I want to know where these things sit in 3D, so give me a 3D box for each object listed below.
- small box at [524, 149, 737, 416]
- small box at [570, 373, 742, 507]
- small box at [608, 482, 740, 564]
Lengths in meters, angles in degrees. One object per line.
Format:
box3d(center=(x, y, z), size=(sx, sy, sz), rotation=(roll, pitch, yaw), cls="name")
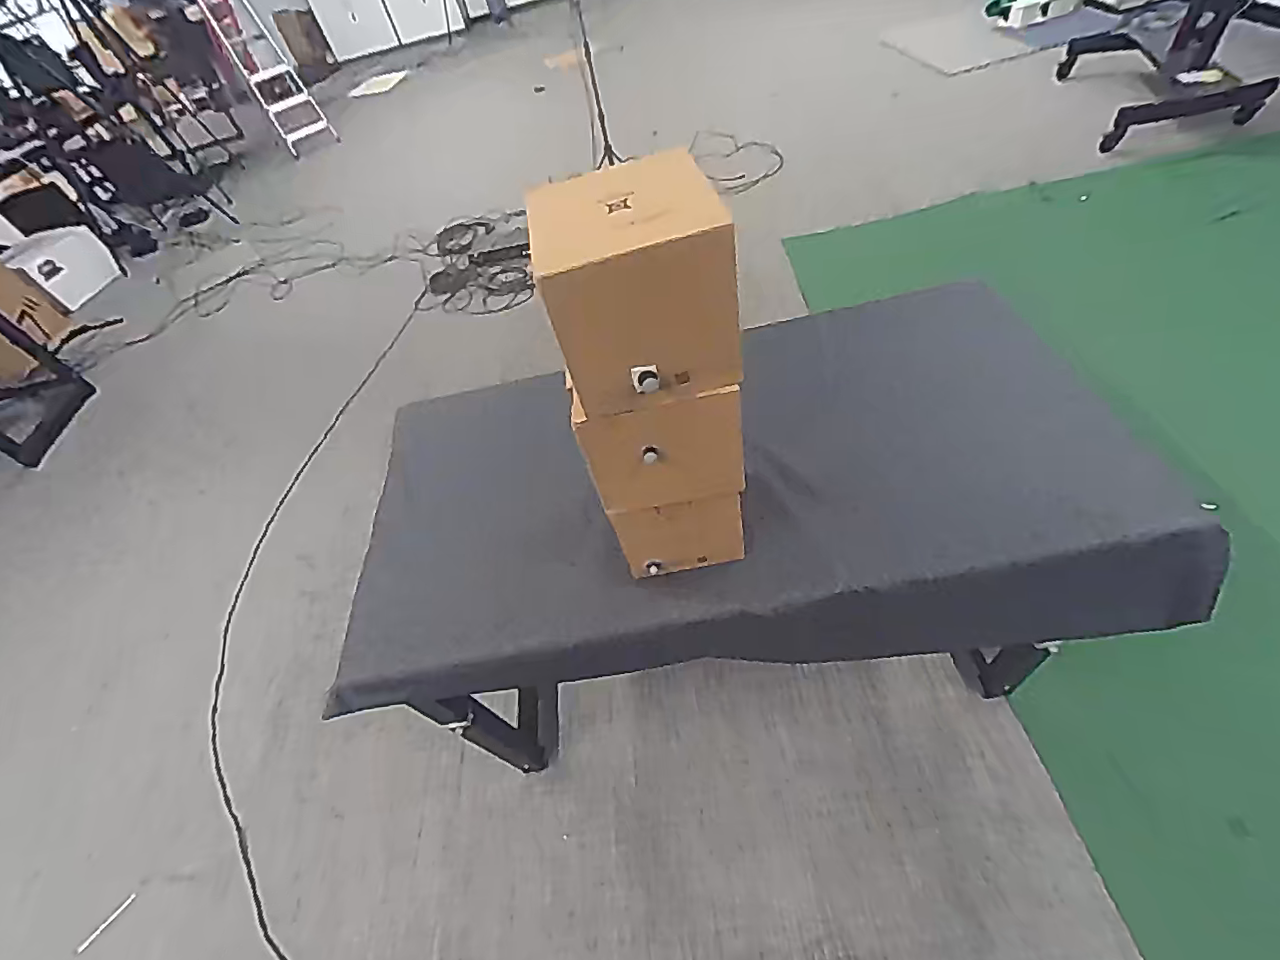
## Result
box3d(center=(-0.007, -0.195, 0.546), size=(0.168, 0.176, 0.179), rotation=(-16, 50, 2), cls="small box")
box3d(center=(0.020, -0.088, 0.669), size=(0.179, 0.176, 0.168), rotation=(-13, 48, 2), cls="small box")
box3d(center=(0.047, 0.008, 0.795), size=(0.168, 0.176, 0.179), rotation=(-12, 49, 5), cls="small box")
